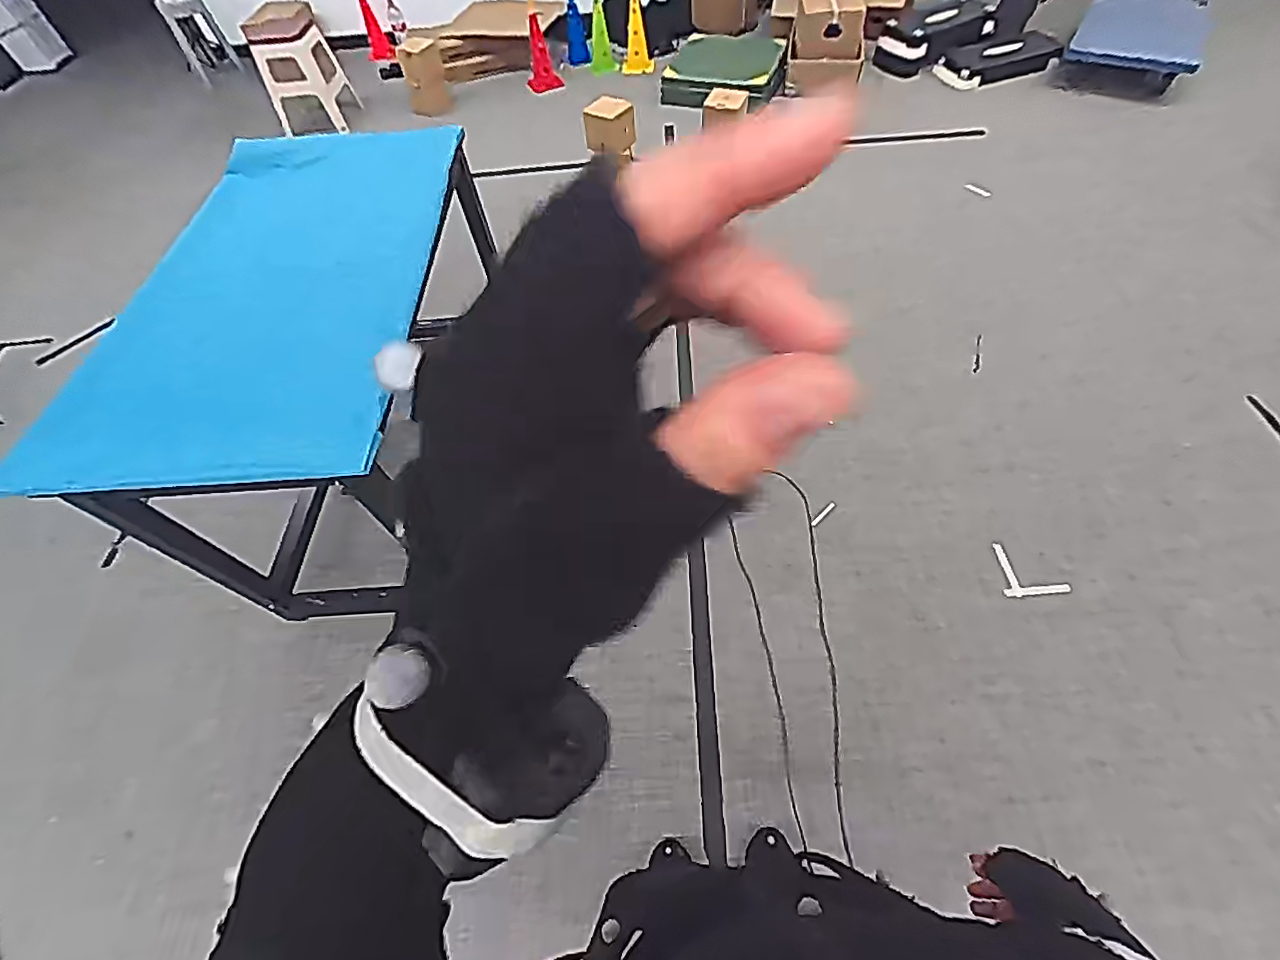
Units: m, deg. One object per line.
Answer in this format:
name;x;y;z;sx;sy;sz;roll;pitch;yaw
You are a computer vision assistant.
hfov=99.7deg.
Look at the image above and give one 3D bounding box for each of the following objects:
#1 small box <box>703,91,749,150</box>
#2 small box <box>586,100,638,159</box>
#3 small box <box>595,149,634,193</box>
small box;0.397;-1.669;2.514;0.168;0.176;0.179;18;60;13
small box;-0.134;-1.646;2.536;0.179;0.176;0.168;29;63;22
small box;-0.122;-1.544;2.669;0.179;0.176;0.168;-2;56;5
